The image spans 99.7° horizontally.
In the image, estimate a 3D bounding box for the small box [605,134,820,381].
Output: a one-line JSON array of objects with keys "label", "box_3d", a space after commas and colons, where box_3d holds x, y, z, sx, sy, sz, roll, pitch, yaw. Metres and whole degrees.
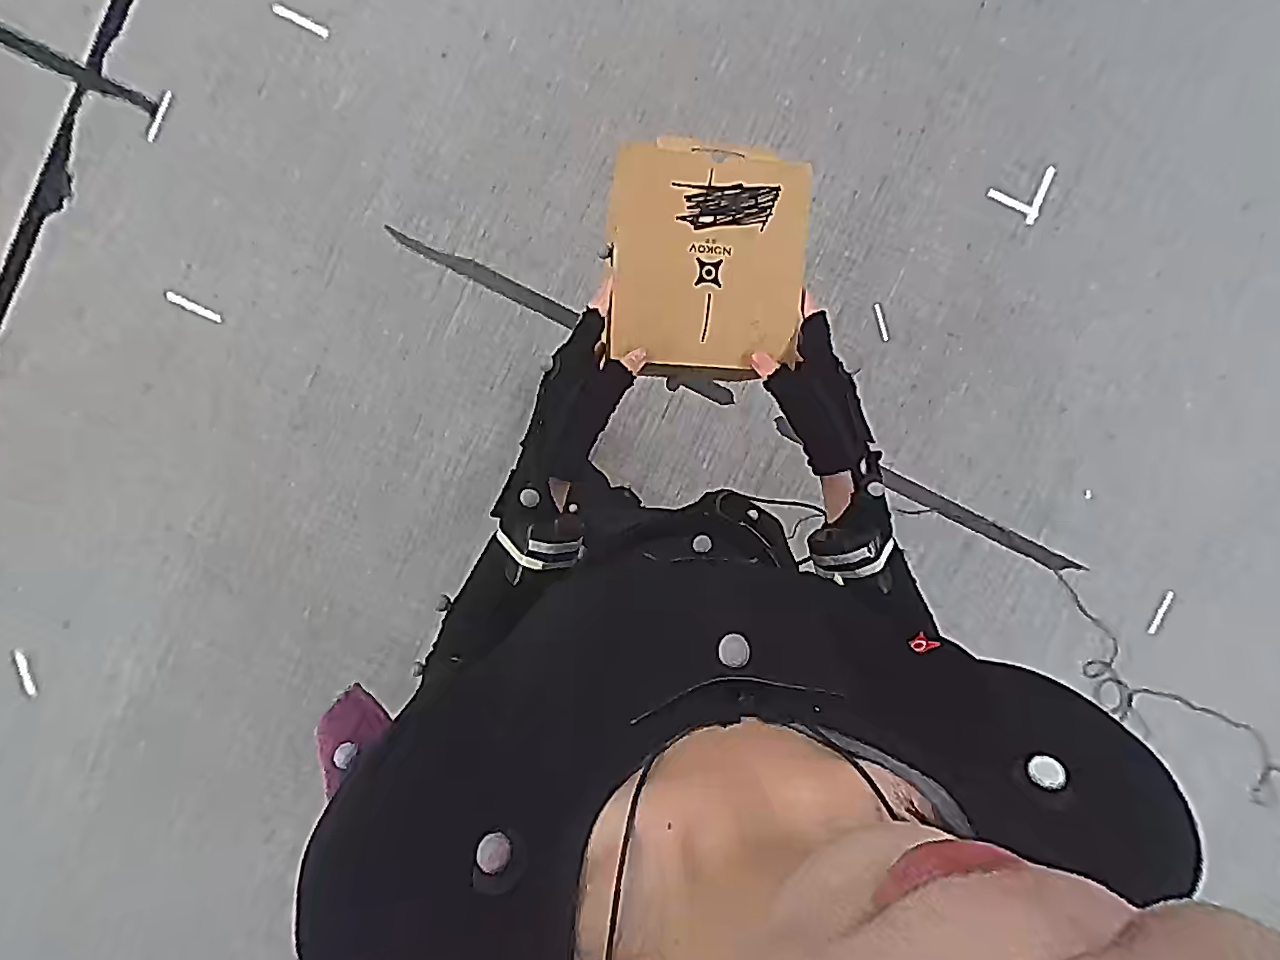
[{"label": "small box", "box_3d": [0.055, -0.196, 0.529, 0.168, 0.176, 0.179, 3, 97, -7]}]
